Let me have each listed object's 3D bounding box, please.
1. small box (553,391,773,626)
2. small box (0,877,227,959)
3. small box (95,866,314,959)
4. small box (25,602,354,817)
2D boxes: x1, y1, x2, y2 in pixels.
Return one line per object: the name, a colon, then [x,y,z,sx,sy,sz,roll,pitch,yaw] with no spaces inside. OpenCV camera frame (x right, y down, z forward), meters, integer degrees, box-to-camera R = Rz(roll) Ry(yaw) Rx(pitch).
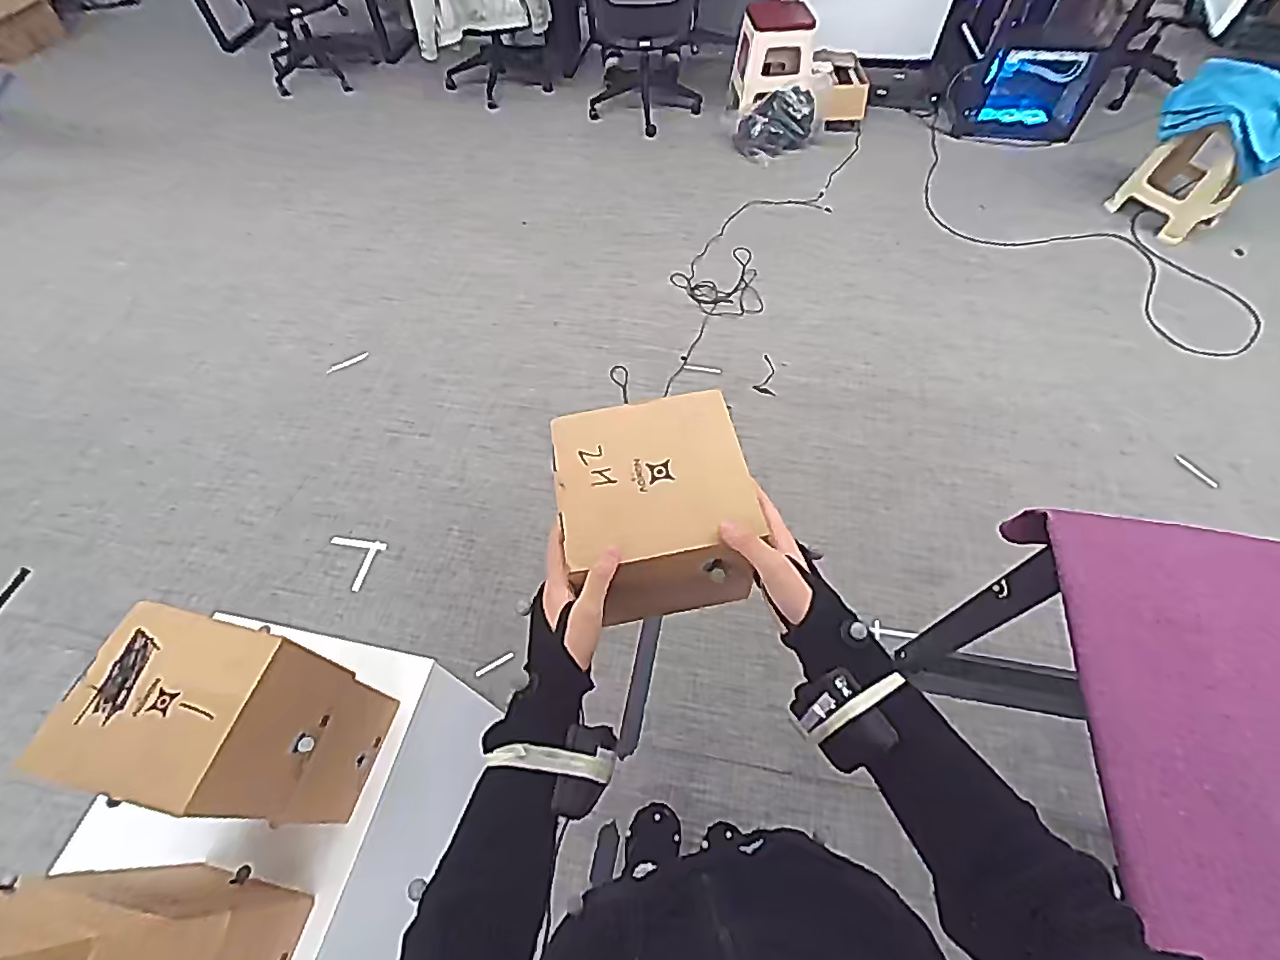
small box: [0.018,0.036,0.555,0.179,0.176,0.168,-11,59,-2]
small box: [-0.518,0.459,0.462,0.179,0.176,0.168,8,58,7]
small box: [-0.516,0.547,0.598,0.179,0.176,0.168,9,59,8]
small box: [-0.460,0.254,0.589,0.179,0.176,0.168,11,59,7]
